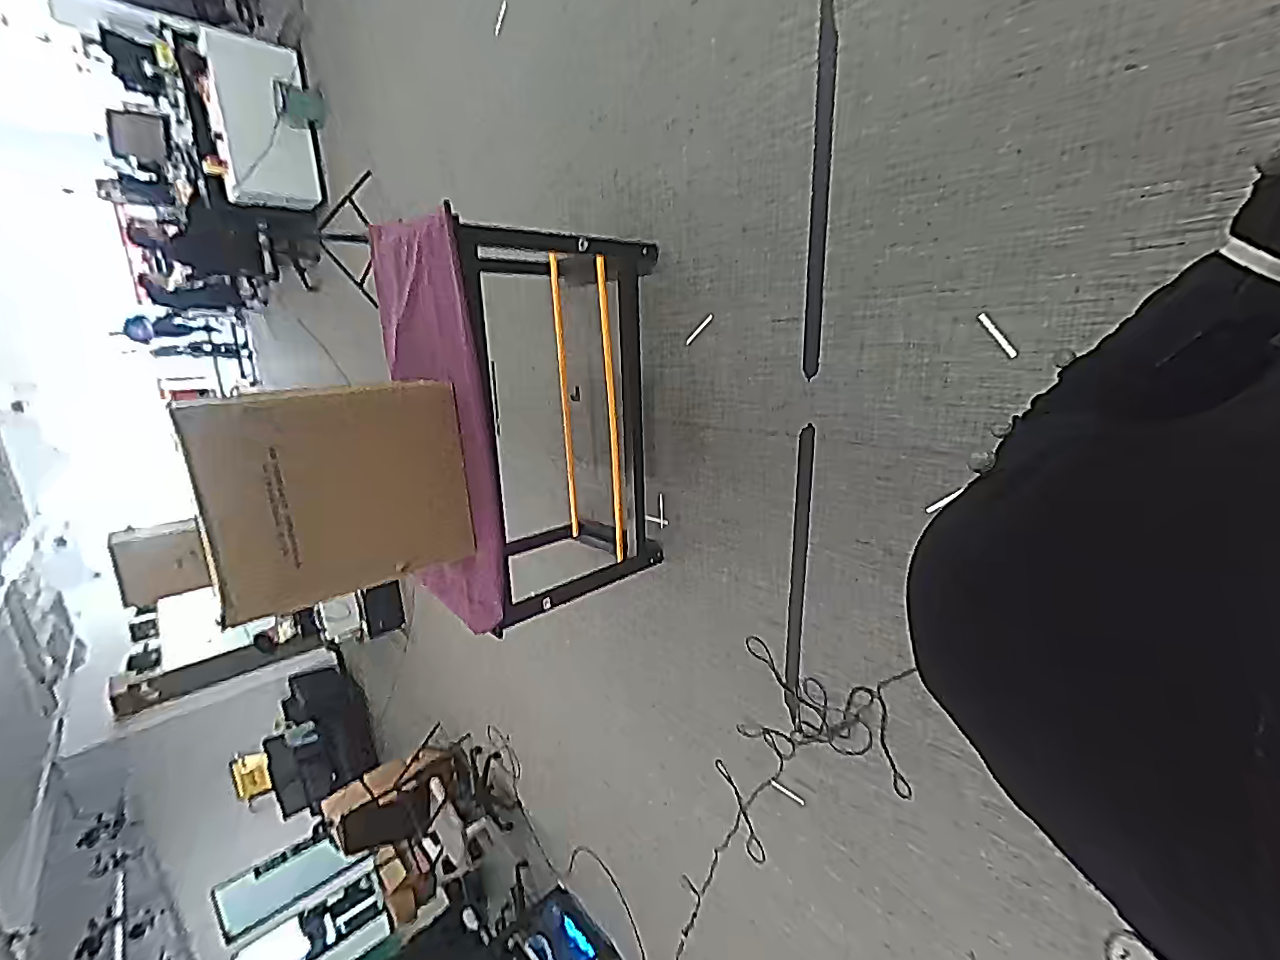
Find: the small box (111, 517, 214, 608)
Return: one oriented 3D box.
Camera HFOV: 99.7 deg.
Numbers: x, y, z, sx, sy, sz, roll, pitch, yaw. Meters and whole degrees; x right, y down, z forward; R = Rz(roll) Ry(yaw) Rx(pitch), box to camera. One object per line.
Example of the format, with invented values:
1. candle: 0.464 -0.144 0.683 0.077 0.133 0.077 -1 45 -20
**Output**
1. small box: -1.206 0.200 1.373 0.179 0.176 0.168 11 110 47
